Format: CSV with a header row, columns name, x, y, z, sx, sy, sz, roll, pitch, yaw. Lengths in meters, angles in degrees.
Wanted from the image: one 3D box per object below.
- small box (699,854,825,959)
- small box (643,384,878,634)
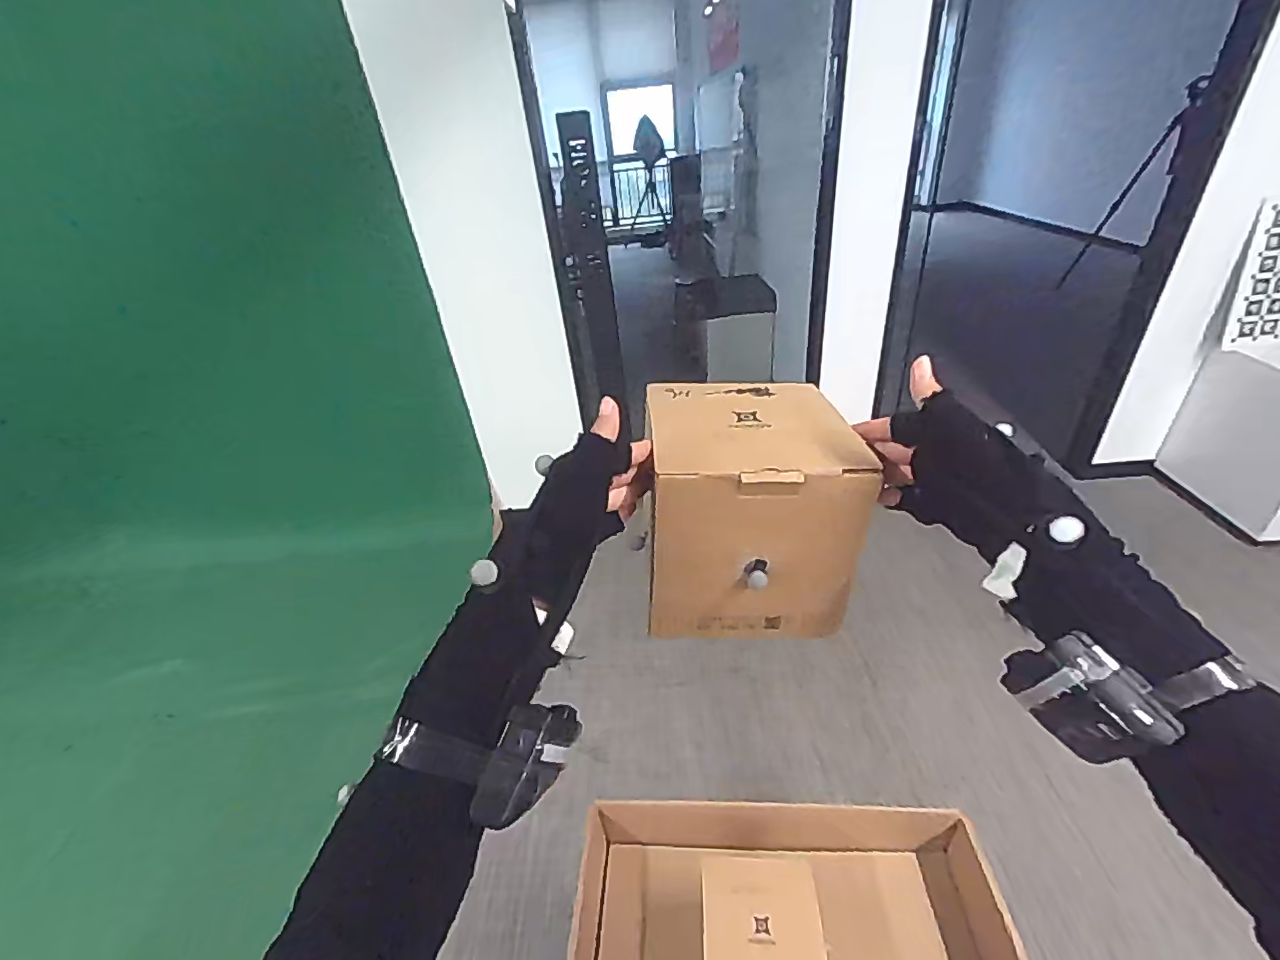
name,x,y,z,sx,sy,sz,roll,pitch,yaw
small box,0.171,0.684,0.789,0.168,0.176,0.179,-1,32,5
small box,0.088,0.023,0.494,0.168,0.176,0.179,0,32,-1
